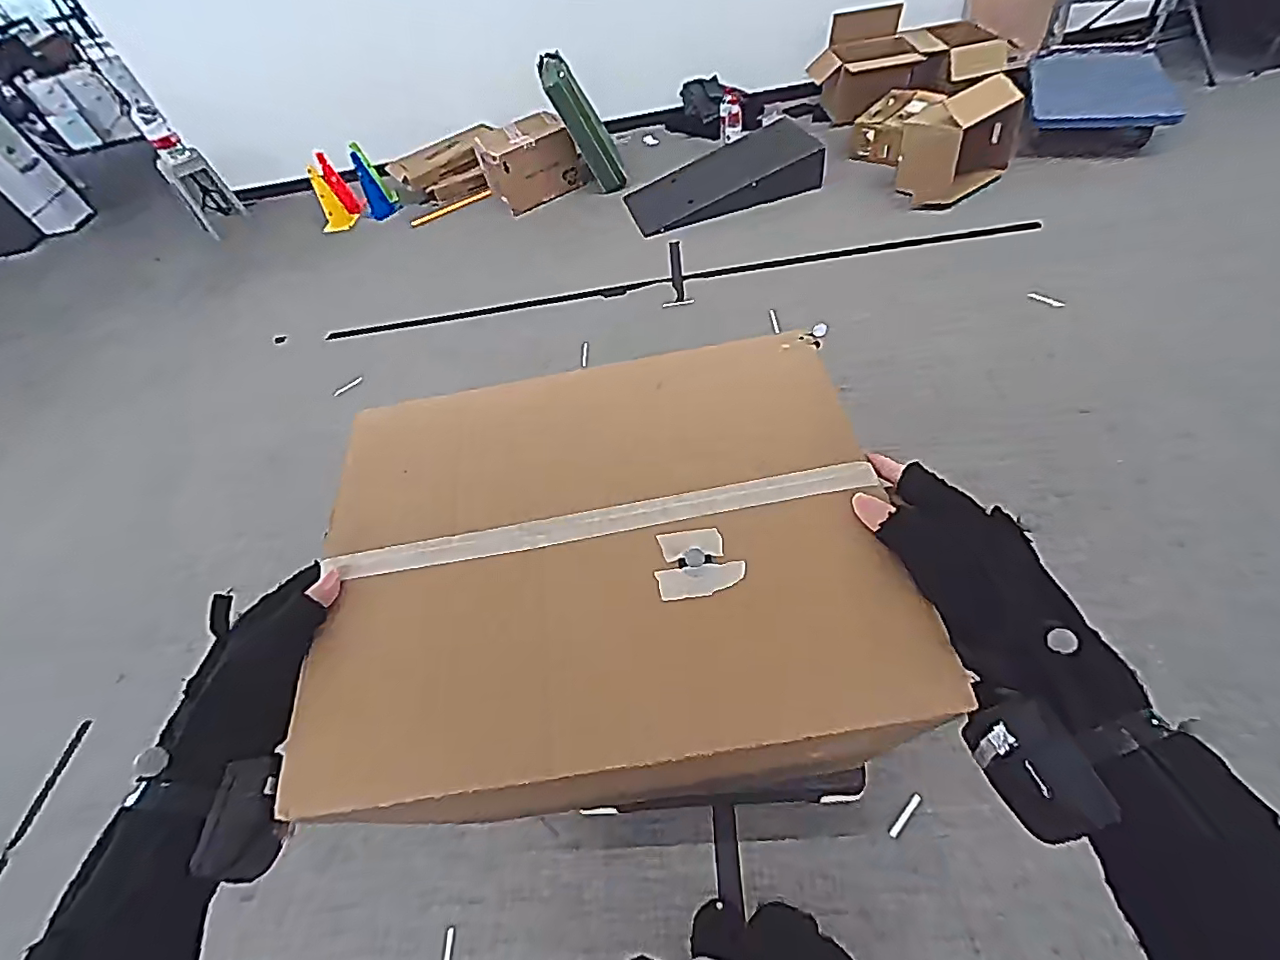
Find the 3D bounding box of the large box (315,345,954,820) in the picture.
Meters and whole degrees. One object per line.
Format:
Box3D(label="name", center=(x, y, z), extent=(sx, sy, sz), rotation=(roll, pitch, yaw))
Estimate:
Box3D(label="large box", center=(-0.010, 0.118, 0.530), extent=(0.408, 0.320, 0.320), rotation=(-10, 57, 1))
